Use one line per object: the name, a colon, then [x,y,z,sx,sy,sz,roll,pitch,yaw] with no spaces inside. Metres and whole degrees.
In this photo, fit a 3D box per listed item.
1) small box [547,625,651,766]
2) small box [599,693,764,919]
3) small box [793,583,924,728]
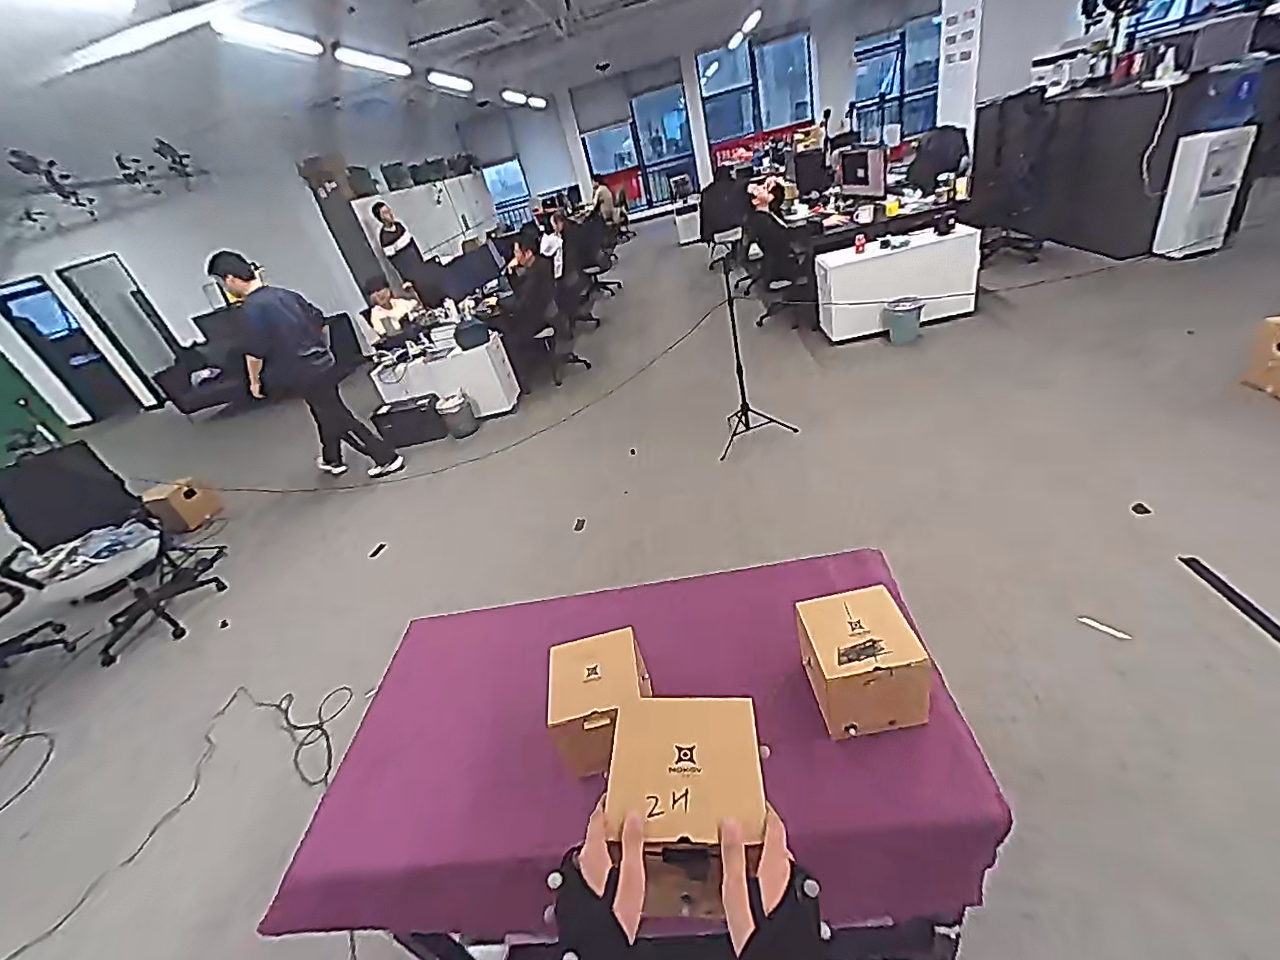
small box: [-0.070,0.411,1.022,0.168,0.176,0.179,-14,31,1]
small box: [0.053,0.381,0.643,0.168,0.176,0.179,-2,35,7]
small box: [0.384,0.317,0.963,0.168,0.176,0.179,-13,31,5]
